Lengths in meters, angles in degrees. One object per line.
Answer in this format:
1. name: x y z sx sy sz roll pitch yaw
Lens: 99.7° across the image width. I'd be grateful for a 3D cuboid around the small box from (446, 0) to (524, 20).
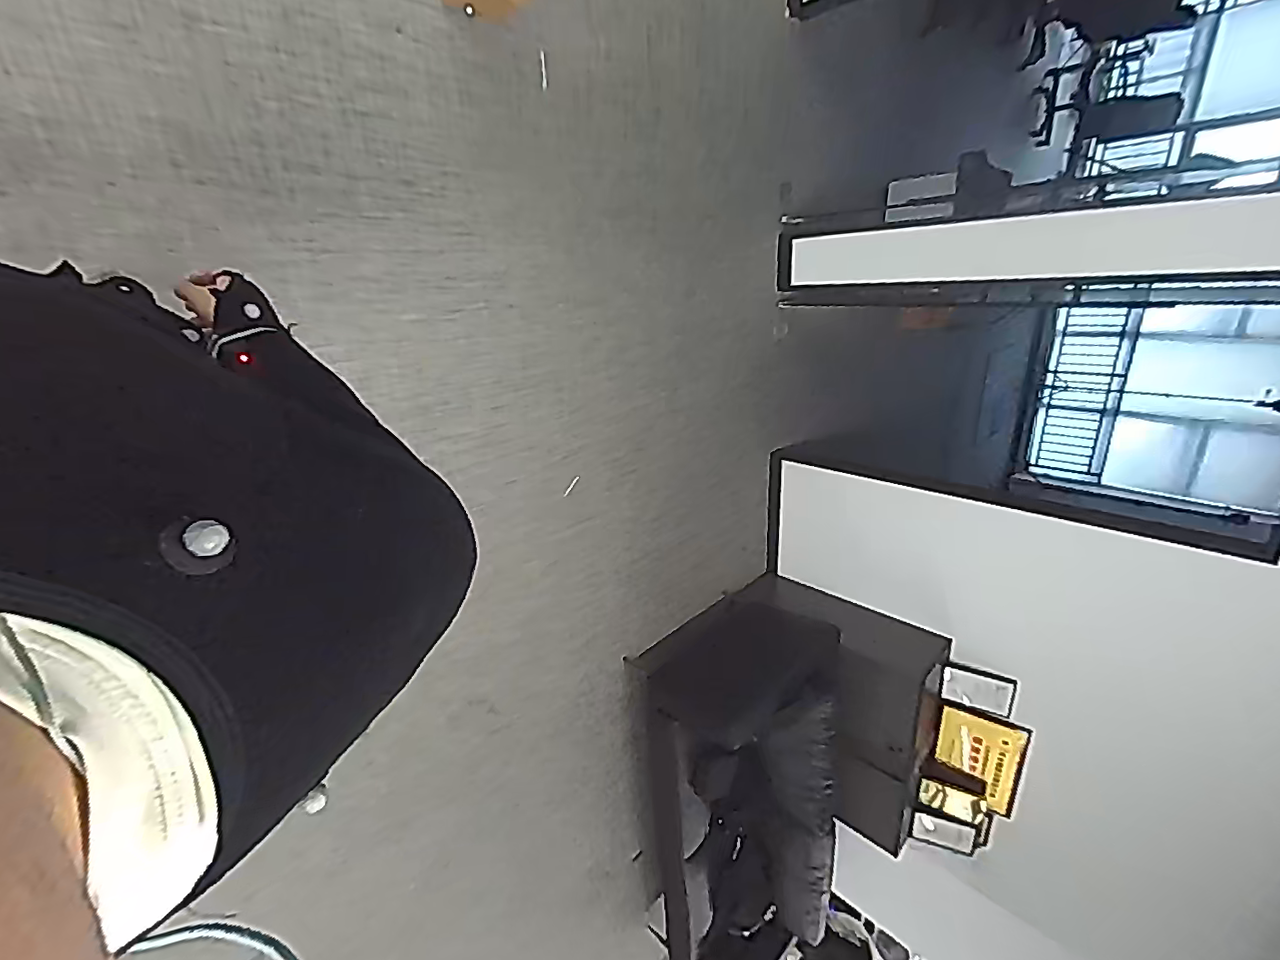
1. small box: -0.427 -1.389 1.446 0.168 0.176 0.179 -15 113 -42
